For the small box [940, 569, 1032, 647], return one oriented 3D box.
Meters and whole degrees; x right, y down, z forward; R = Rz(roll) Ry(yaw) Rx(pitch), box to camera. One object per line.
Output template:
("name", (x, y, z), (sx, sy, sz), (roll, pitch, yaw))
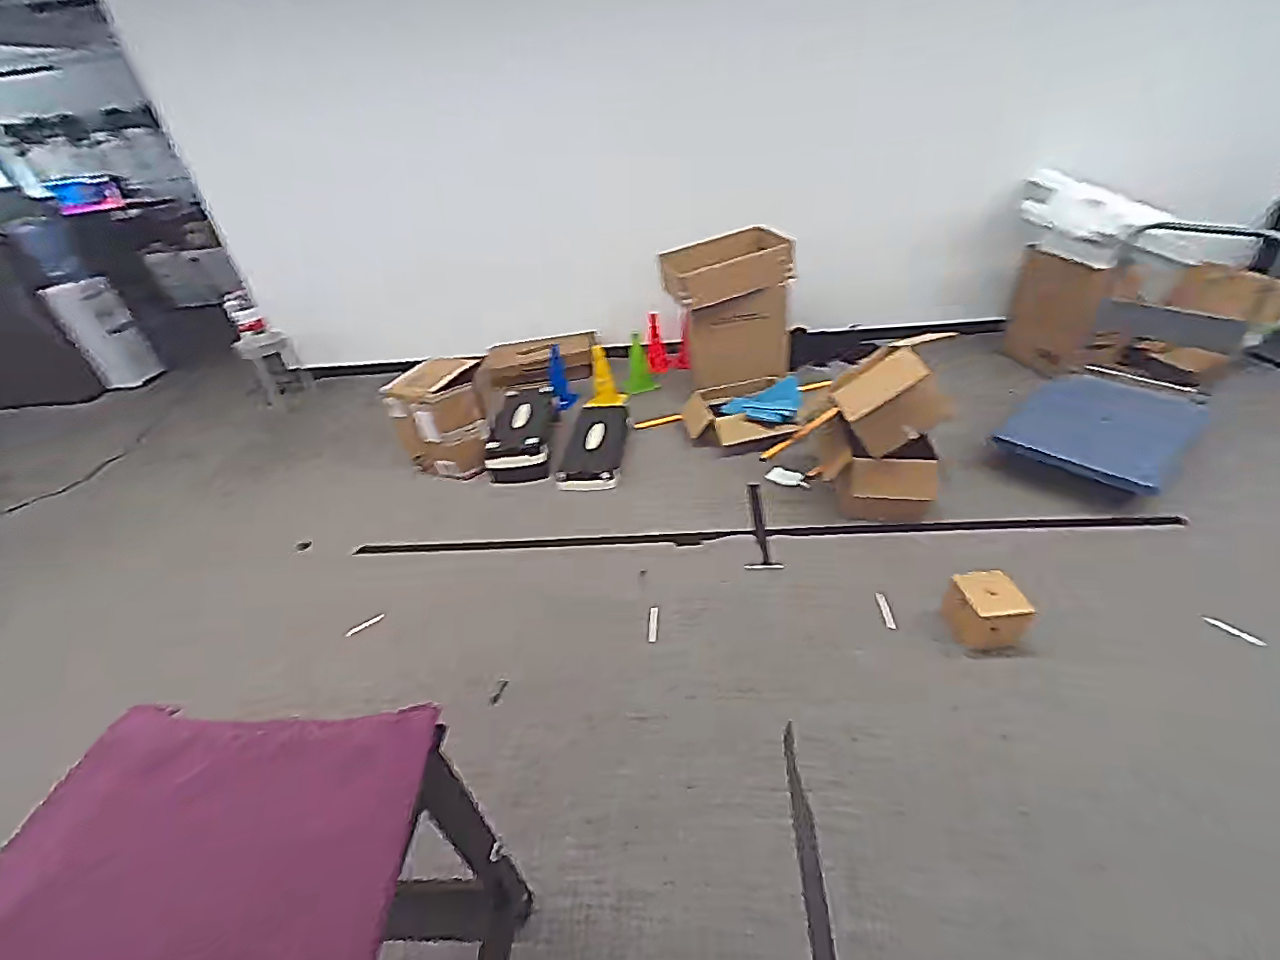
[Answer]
("small box", (1.097, 0.415, 1.729), (0.168, 0.176, 0.179), (-7, 35, 0))
